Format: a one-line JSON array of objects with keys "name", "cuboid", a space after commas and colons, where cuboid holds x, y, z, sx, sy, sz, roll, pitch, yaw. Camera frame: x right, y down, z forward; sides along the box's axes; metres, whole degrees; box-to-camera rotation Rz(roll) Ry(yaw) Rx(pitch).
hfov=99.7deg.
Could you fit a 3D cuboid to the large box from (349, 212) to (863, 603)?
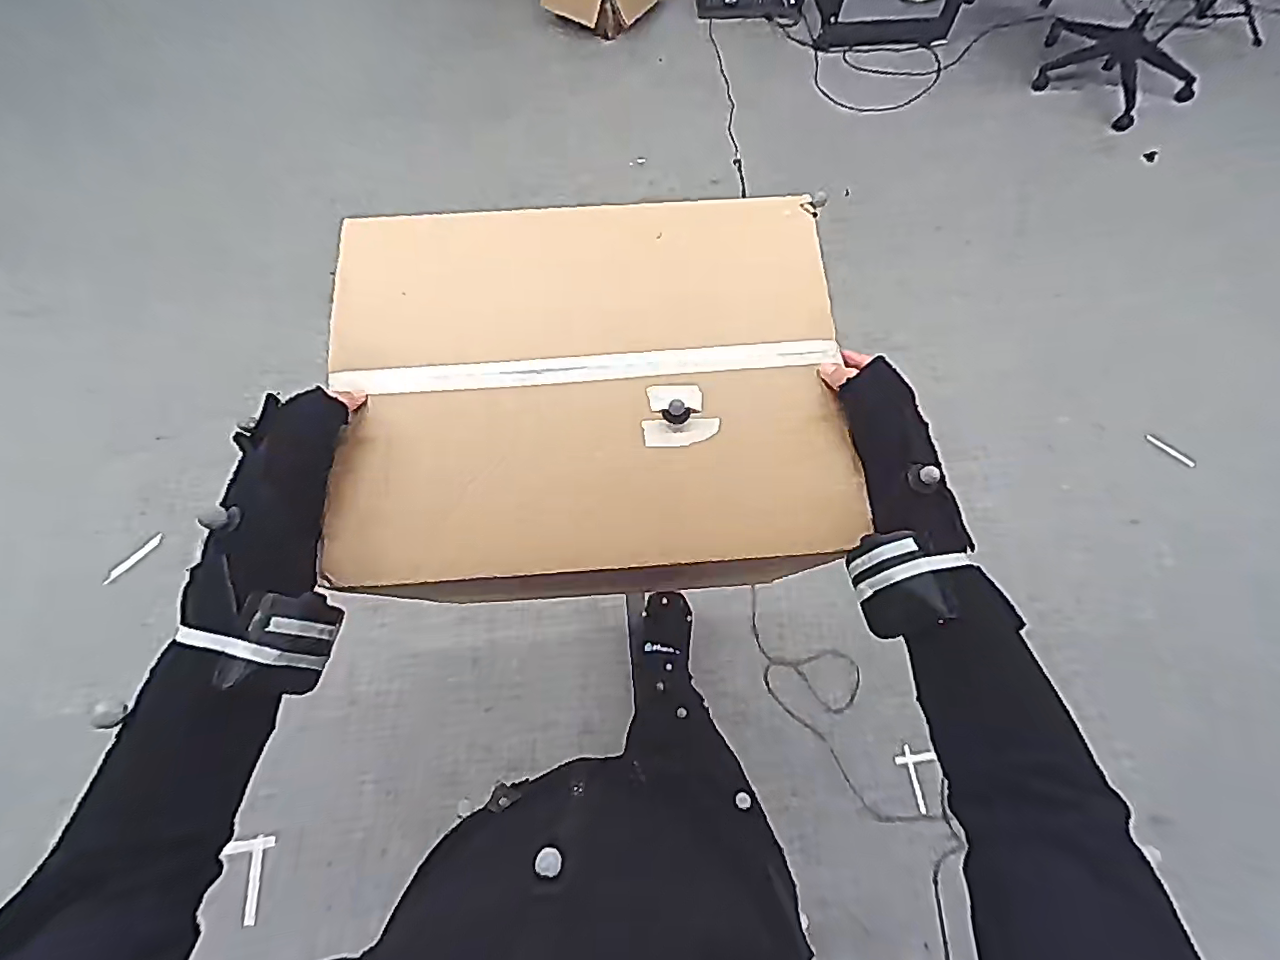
[{"name": "large box", "cuboid": [-0.038, -0.046, 0.595, 0.408, 0.320, 0.320, -4, 75, -2]}]
